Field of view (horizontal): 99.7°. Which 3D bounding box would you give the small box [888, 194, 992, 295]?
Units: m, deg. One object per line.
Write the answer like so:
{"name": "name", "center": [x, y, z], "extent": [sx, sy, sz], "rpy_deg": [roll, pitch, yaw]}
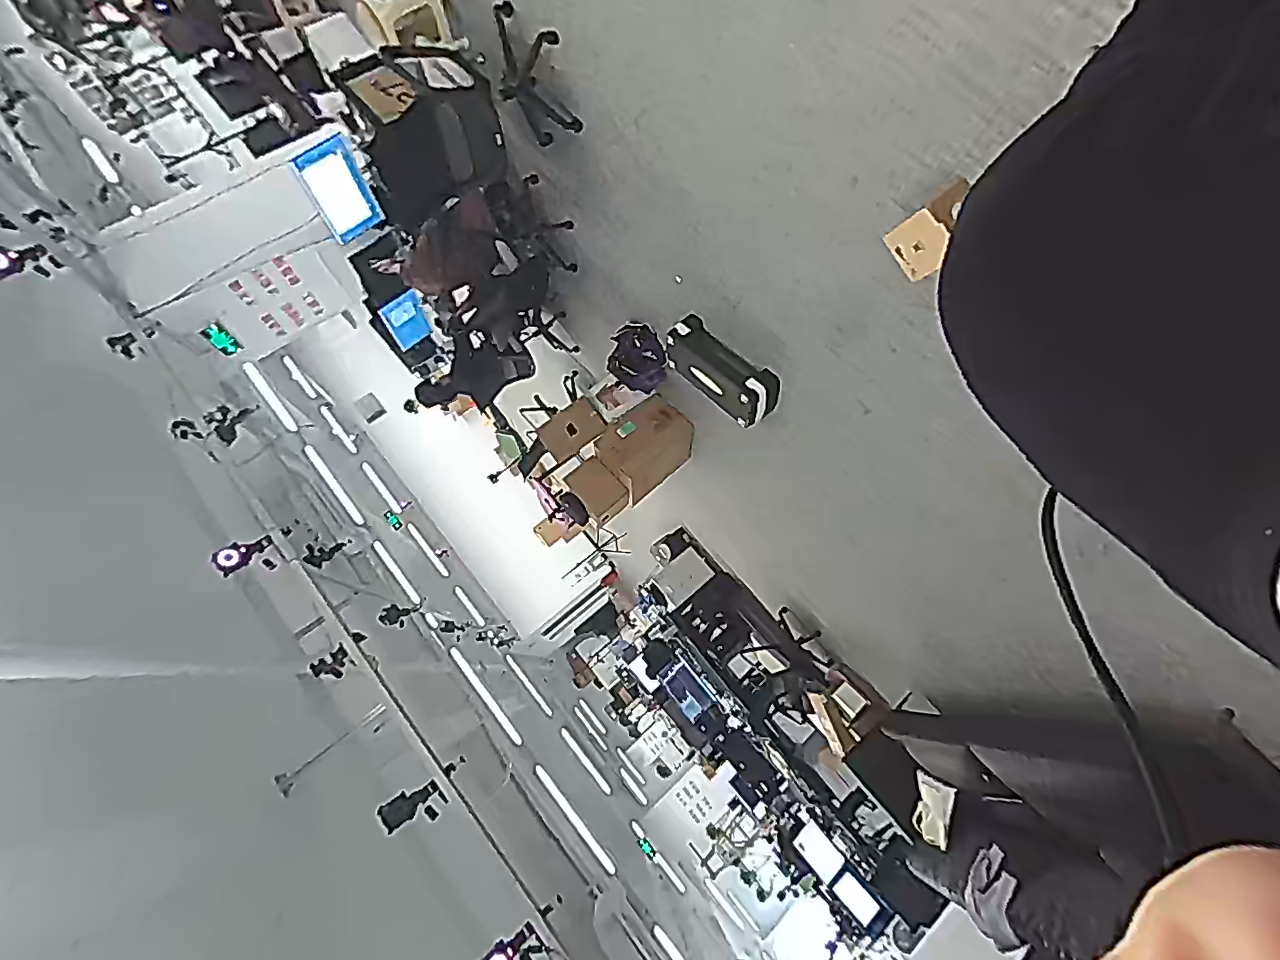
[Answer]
{"name": "small box", "center": [0.864, -0.674, 1.547], "extent": [0.168, 0.176, 0.179], "rpy_deg": [52, 164, -5]}
